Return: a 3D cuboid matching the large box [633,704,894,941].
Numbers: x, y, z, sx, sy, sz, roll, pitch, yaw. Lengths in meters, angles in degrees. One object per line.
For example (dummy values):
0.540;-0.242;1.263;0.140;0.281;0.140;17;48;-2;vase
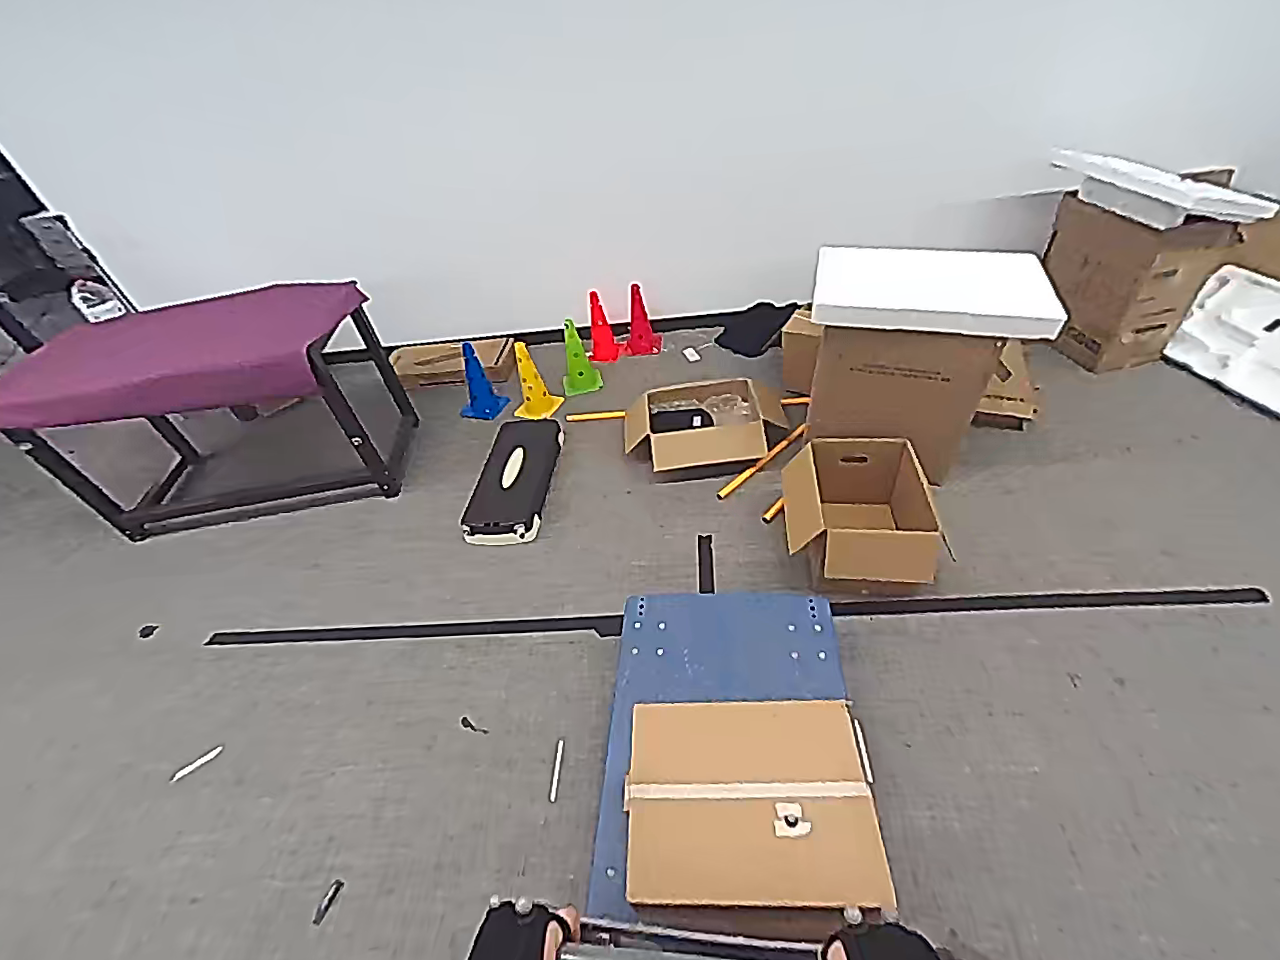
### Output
0.200;0.652;1.030;0.408;0.320;0.320;-3;43;5;large box
